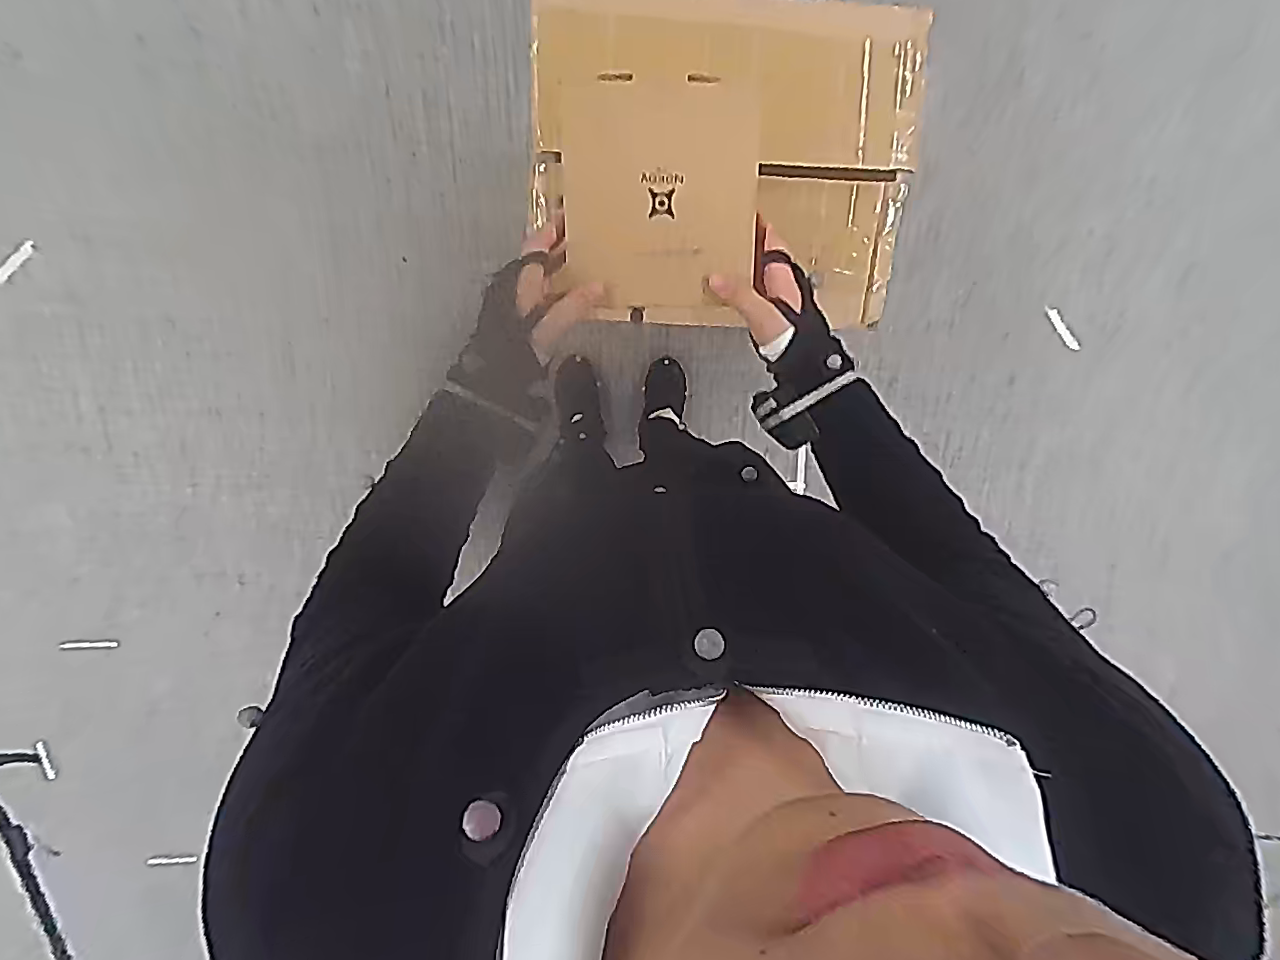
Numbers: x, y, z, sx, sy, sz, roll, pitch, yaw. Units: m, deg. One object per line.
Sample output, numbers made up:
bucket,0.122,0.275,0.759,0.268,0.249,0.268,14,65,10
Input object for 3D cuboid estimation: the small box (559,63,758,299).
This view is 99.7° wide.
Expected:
small box,0.010,-0.273,0.532,0.168,0.176,0.179,-3,109,-3
